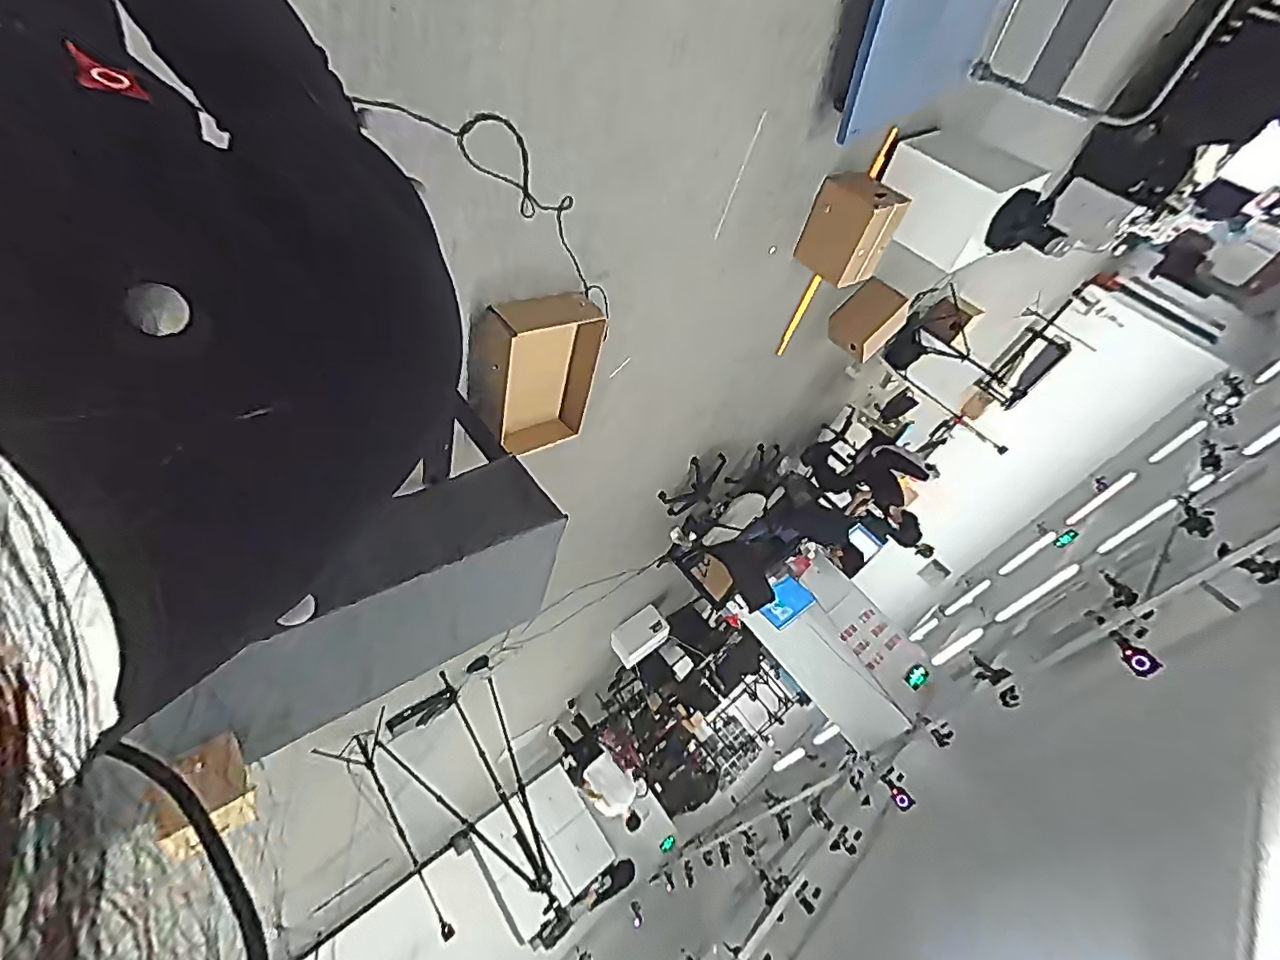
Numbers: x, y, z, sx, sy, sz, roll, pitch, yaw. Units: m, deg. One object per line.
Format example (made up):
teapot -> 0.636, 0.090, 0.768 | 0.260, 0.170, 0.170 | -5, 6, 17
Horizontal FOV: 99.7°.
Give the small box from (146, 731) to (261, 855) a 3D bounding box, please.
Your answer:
small box -> -1.022, 0.729, 1.273 | 0.168, 0.176, 0.179 | -20, 148, -41
